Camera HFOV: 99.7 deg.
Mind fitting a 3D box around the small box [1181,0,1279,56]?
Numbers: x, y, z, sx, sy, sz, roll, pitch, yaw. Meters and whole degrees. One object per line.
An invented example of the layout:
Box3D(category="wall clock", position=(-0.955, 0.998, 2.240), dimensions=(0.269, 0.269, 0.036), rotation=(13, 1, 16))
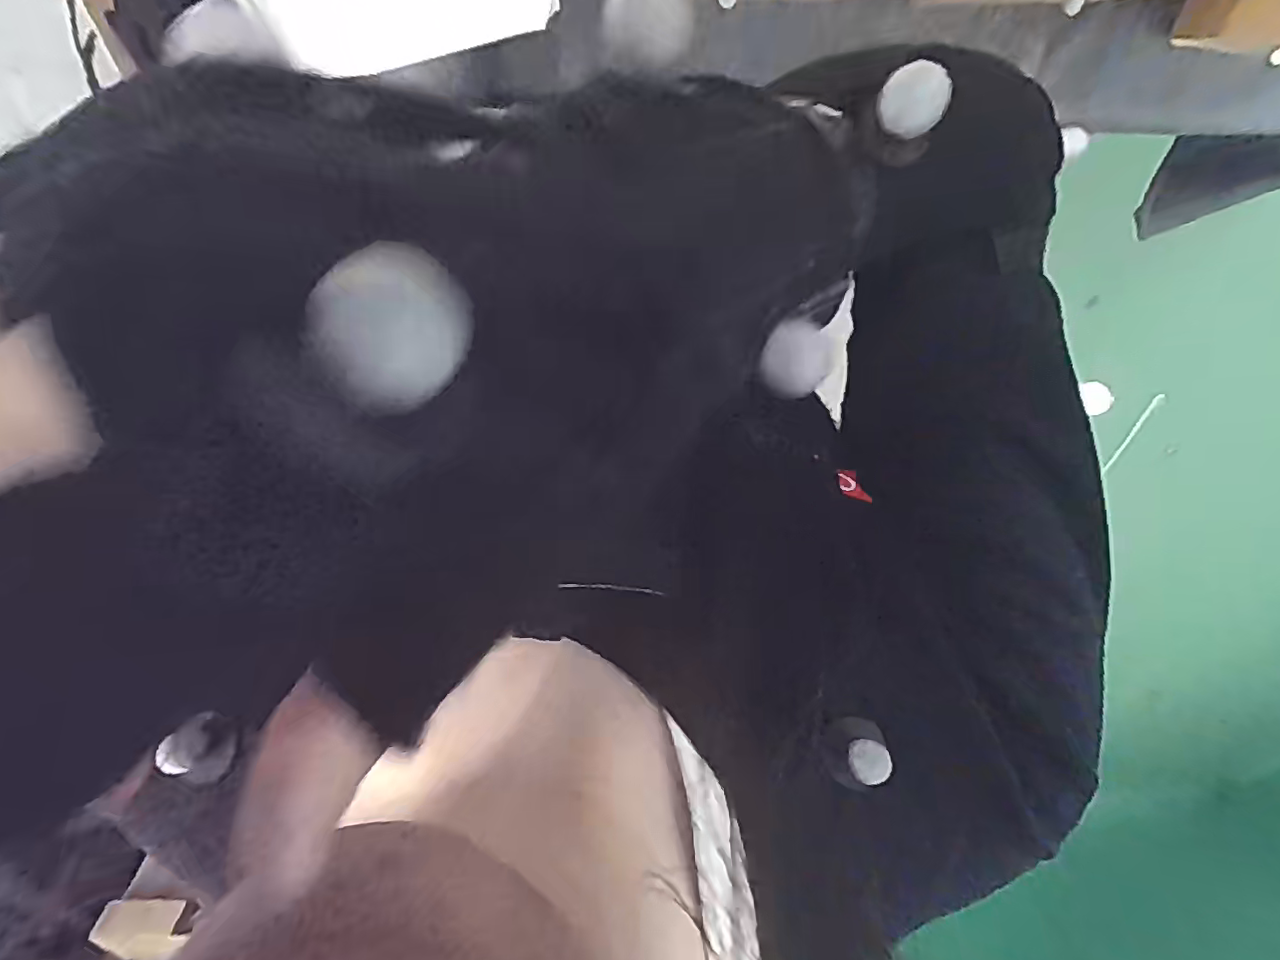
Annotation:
Box3D(category="small box", position=(0.594, -0.438, 0.408), dimensions=(0.168, 0.176, 0.179), rotation=(3, 128, -5))
